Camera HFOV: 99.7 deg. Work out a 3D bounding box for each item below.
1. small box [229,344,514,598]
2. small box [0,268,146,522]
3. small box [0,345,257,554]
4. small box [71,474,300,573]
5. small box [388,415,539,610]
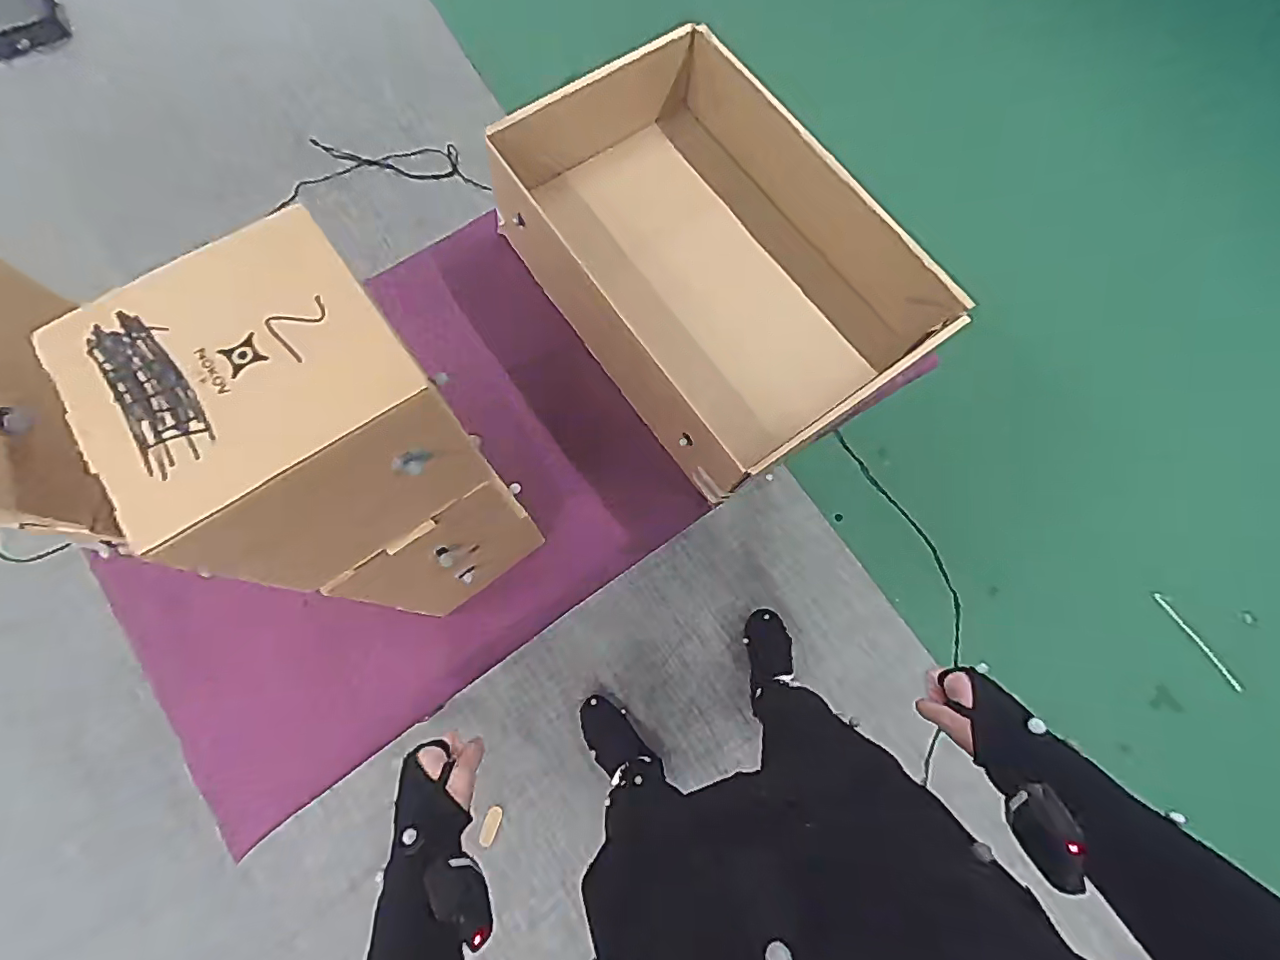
[{"bbox_3d":[-0.250,0.004,0.550,0.168,0.176,0.179,-35,79,-12],"label":"small box"},{"bbox_3d":[-0.525,-0.068,0.389,0.179,0.176,0.168,6,75,-2],"label":"small box"},{"bbox_3d":[-0.530,-0.026,0.545,0.168,0.176,0.179,7,74,-3],"label":"small box"},{"bbox_3d":[-0.541,0.024,0.699,0.179,0.176,0.168,7,73,-1],"label":"small box"},{"bbox_3d":[-0.253,0.053,0.706,0.179,0.176,0.168,-37,78,-12],"label":"small box"}]
